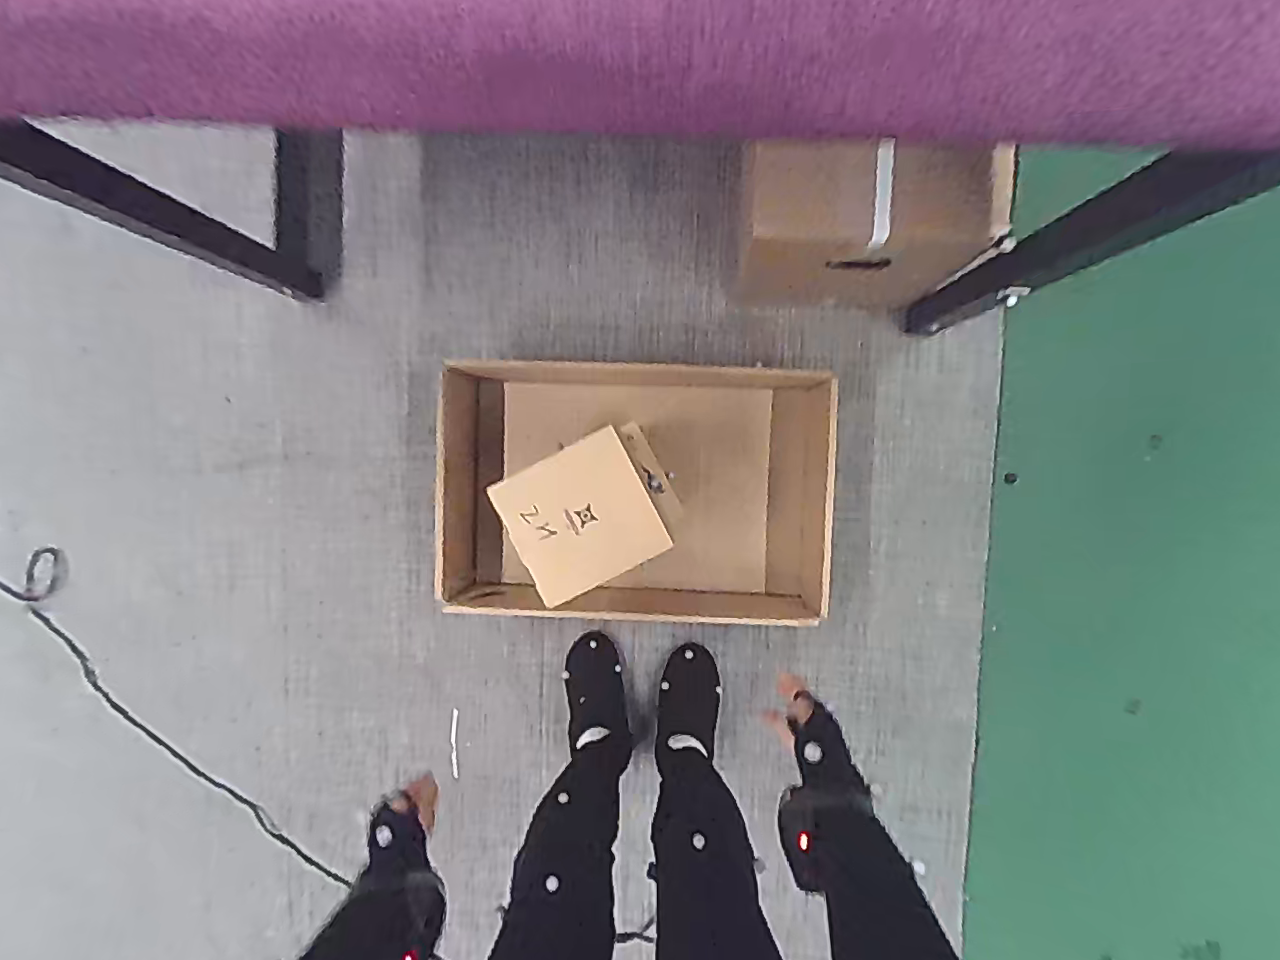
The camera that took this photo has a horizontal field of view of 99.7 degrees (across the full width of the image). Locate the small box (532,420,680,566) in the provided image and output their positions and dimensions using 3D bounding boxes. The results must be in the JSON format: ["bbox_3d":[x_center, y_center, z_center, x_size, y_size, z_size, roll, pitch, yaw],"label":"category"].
[{"bbox_3d":[-0.046,0.018,0.888,0.179,0.176,0.168,-28,91,4],"label":"small box"}]
